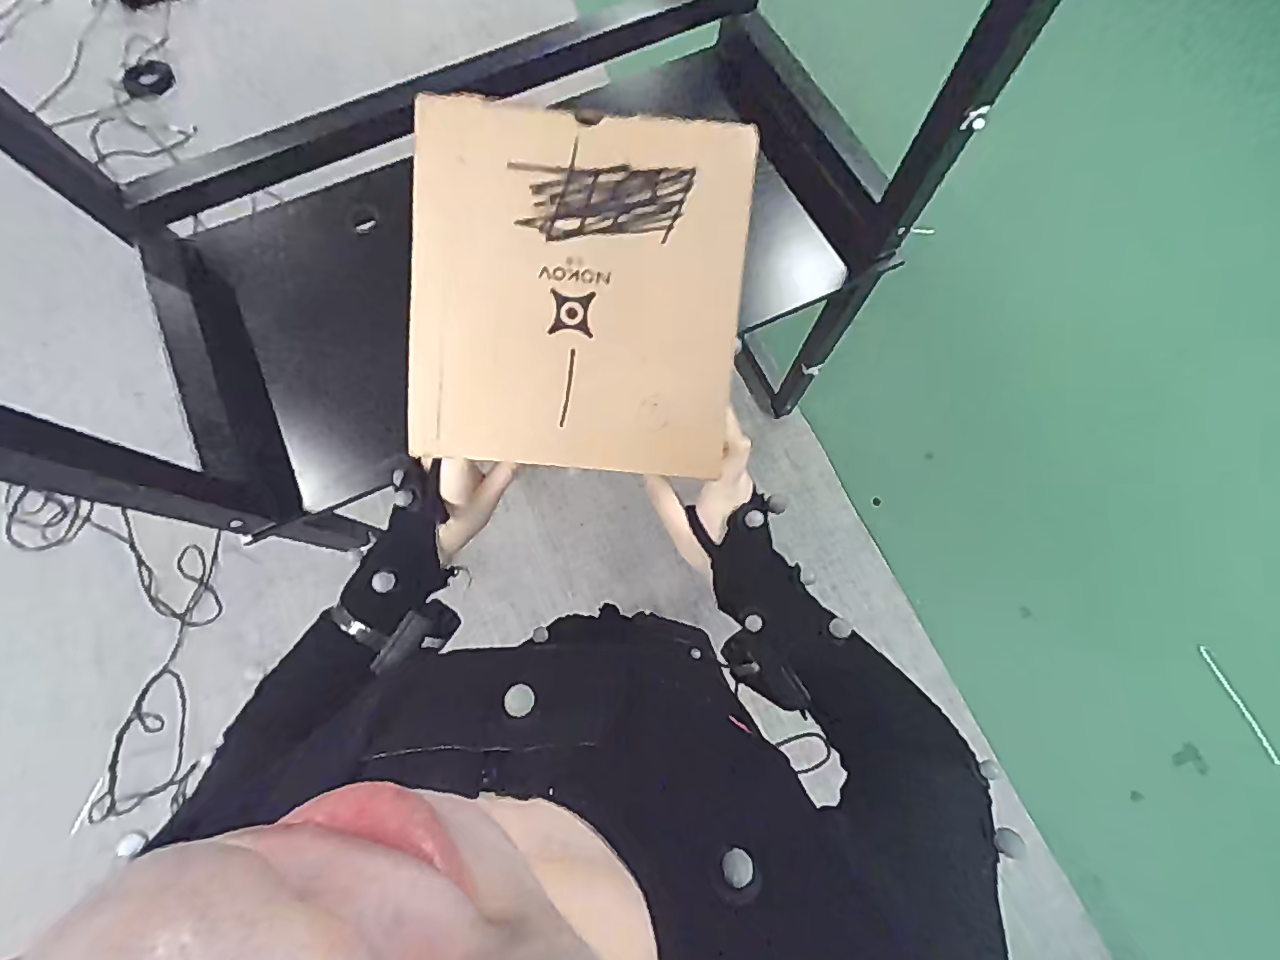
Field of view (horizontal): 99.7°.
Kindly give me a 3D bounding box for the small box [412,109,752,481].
[{"bbox_3d":[-0.032,-0.102,0.361,0.168,0.176,0.179,6,97,0],"label":"small box"}]
